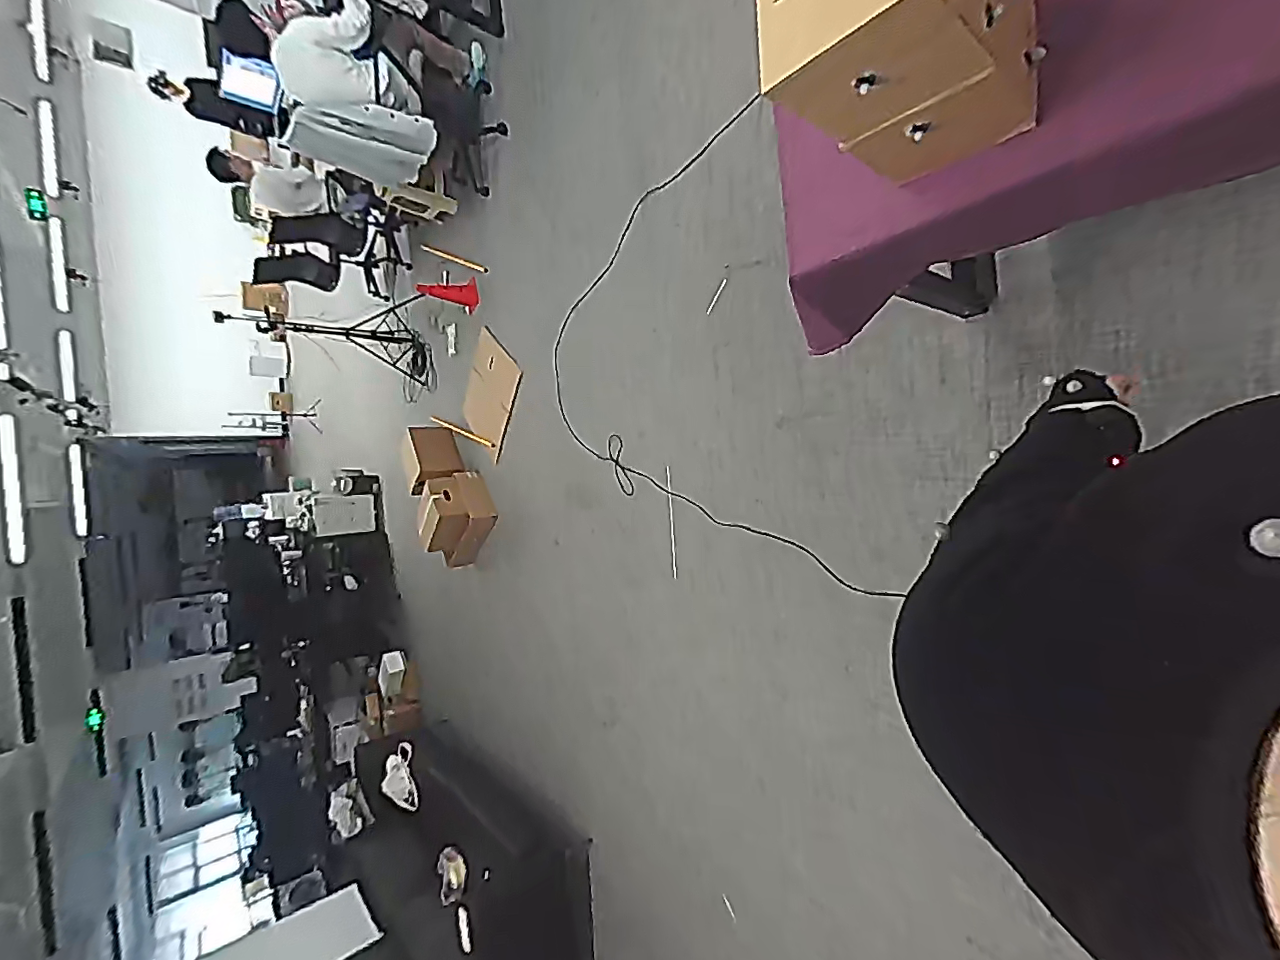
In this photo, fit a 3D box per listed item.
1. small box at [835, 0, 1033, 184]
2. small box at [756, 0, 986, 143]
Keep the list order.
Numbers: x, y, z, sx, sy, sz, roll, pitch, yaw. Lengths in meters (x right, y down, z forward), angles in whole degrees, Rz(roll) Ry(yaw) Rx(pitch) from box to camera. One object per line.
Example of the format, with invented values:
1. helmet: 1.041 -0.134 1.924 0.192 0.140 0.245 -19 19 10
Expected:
1. small box: 0.366 -0.506 0.681 0.179 0.176 0.168 -1 93 49
2. small box: 0.244 -0.499 0.571 0.179 0.176 0.168 -2 93 50
